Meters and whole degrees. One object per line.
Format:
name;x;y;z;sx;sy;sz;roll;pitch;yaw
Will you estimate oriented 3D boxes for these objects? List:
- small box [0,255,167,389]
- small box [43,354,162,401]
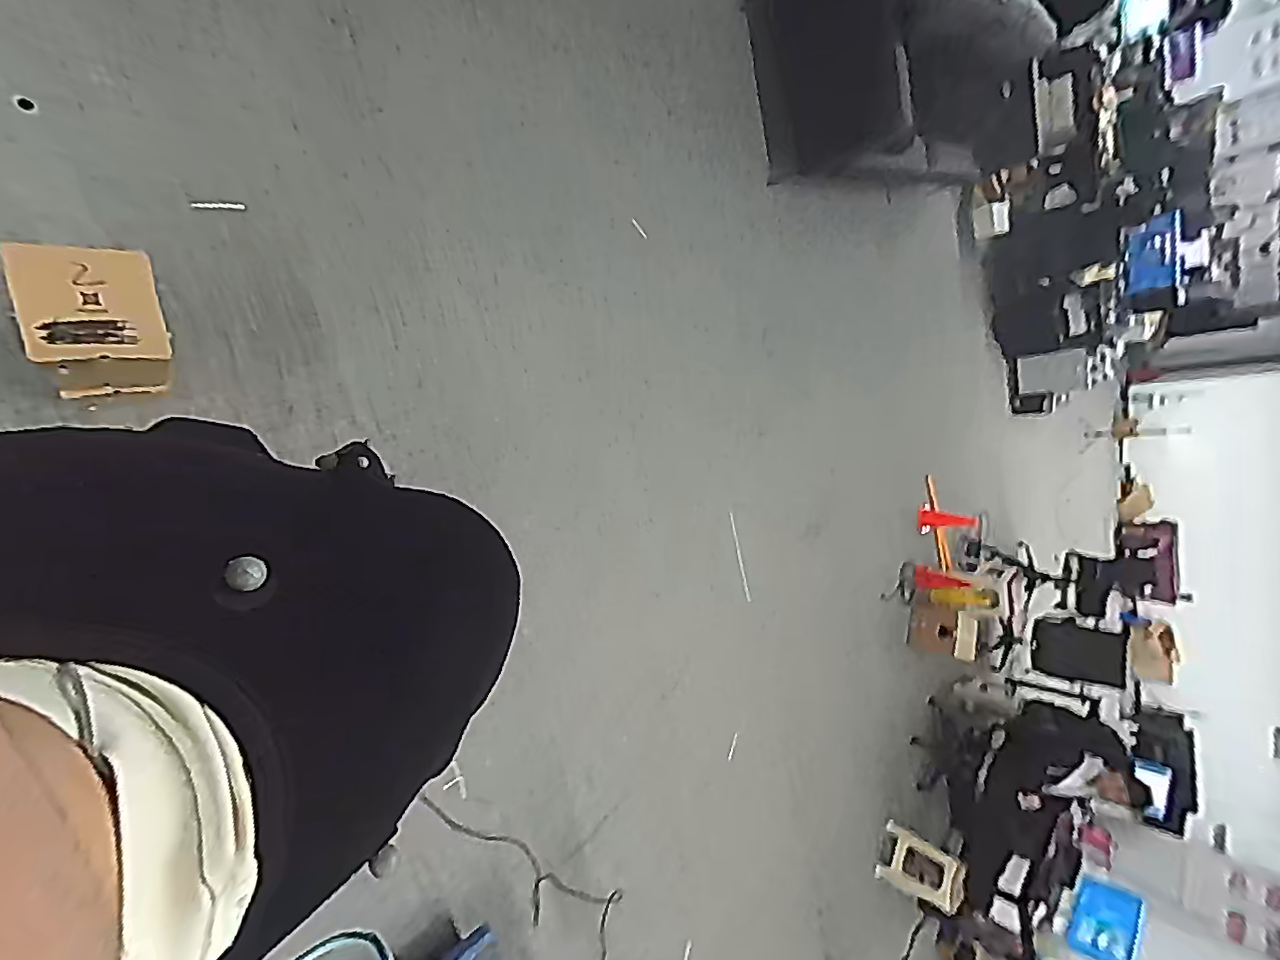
small box;-1.032;-0.281;1.014;0.179;0.176;0.168;26;75;-38
small box;-1.129;-0.264;1.134;0.168;0.176;0.179;-16;100;-41
